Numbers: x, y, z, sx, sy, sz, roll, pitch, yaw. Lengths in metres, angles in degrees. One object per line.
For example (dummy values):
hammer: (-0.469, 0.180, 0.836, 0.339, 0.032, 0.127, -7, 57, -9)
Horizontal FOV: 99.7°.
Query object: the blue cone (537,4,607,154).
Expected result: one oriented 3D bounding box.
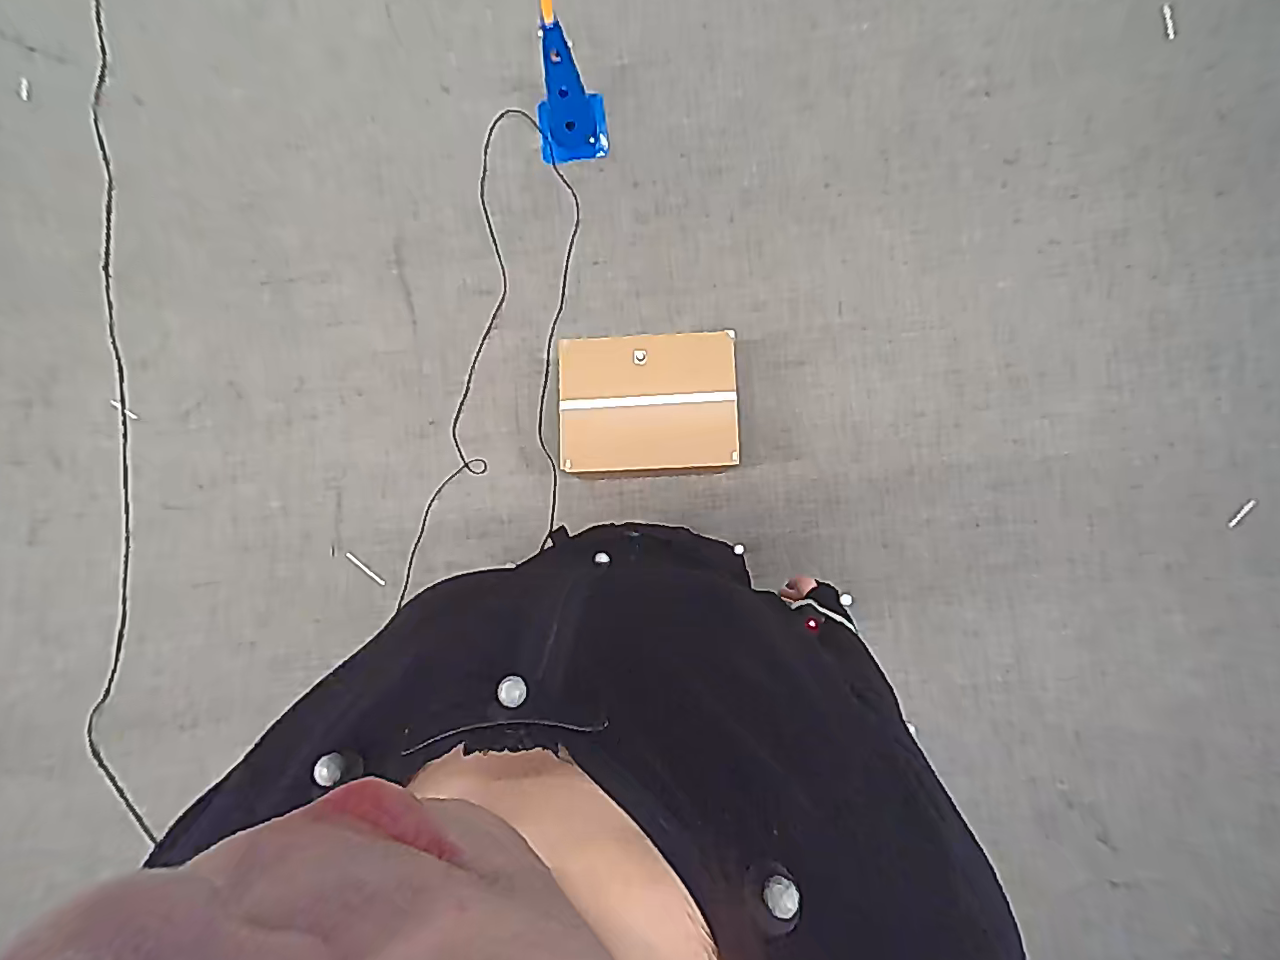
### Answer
blue cone: (-0.201, -1.062, 1.412, 0.193, 0.380, 0.192, -8, 86, 0)
